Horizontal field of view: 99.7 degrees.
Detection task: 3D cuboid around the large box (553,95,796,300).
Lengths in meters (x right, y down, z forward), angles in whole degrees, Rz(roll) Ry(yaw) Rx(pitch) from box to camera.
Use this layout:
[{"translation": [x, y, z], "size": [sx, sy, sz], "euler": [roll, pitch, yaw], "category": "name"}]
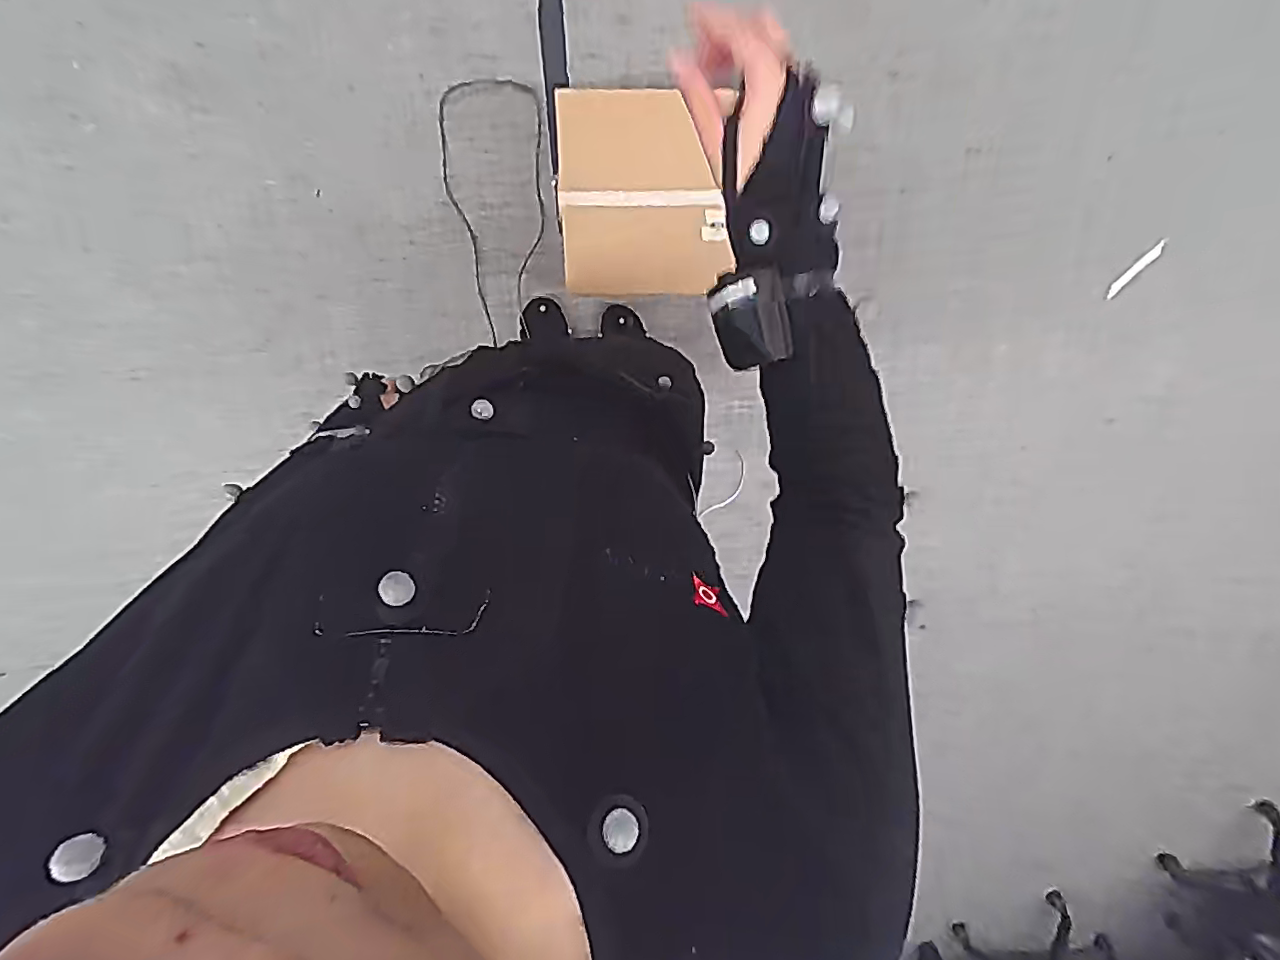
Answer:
[{"translation": [0.052, -0.529, 1.068], "size": [0.408, 0.320, 0.320], "euler": [-2, 111, -3], "category": "large box"}]
